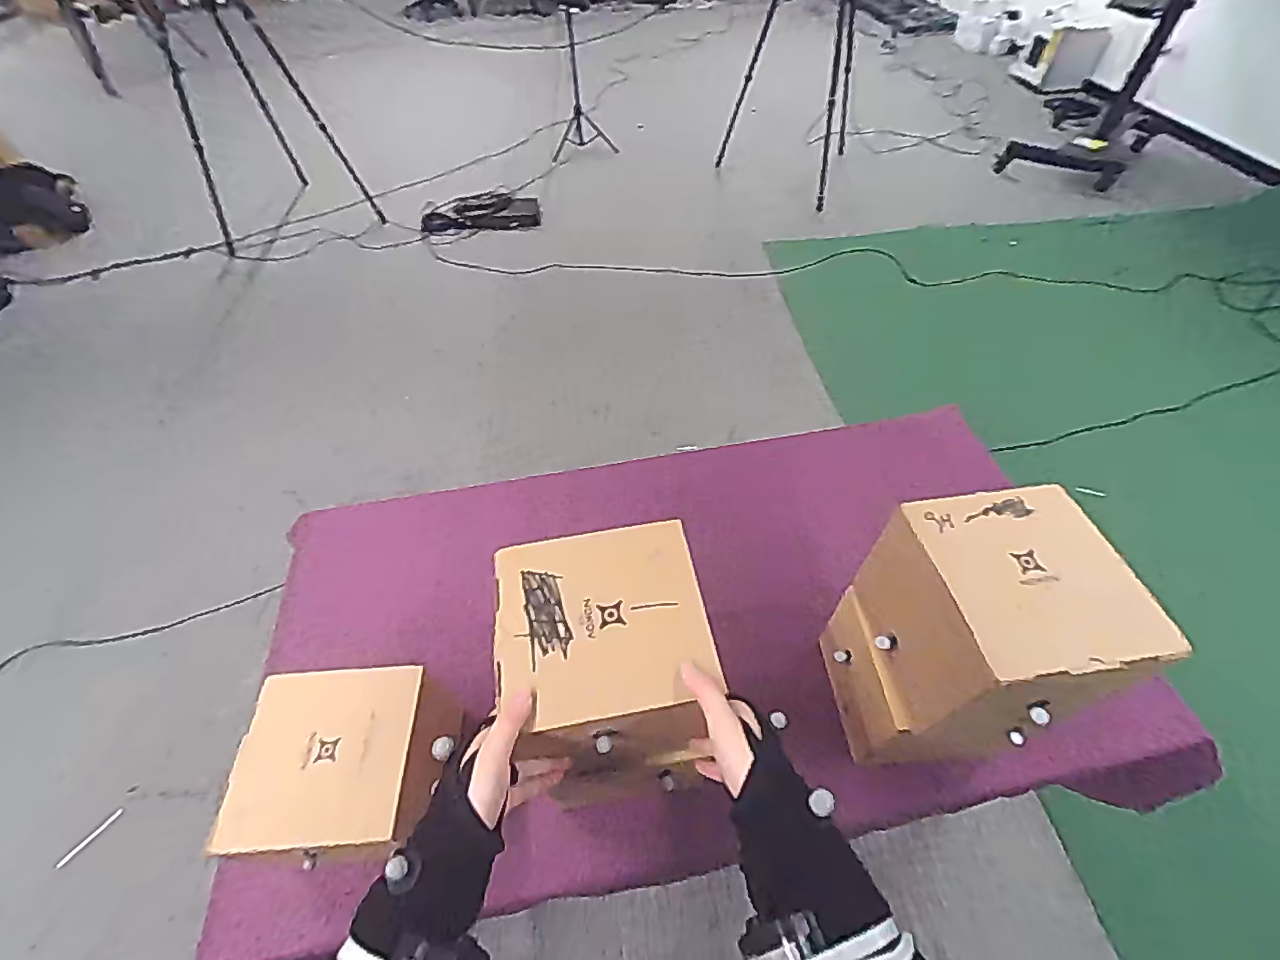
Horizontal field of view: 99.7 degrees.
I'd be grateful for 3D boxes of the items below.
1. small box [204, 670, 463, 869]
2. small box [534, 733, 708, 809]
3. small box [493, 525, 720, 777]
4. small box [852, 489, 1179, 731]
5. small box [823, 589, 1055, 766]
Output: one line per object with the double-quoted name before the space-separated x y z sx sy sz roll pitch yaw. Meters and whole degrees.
"small box" -0.319 0.329 0.610 0.179 0.176 0.168 -3 52 -1
"small box" -0.025 0.276 0.642 0.179 0.176 0.168 -7 51 -3
"small box" -0.032 0.167 0.517 0.179 0.176 0.168 -9 52 -5
"small box" 0.336 0.134 0.533 0.168 0.176 0.179 -6 52 -4
"small box" 0.338 0.238 0.660 0.179 0.176 0.168 -4 51 -2
